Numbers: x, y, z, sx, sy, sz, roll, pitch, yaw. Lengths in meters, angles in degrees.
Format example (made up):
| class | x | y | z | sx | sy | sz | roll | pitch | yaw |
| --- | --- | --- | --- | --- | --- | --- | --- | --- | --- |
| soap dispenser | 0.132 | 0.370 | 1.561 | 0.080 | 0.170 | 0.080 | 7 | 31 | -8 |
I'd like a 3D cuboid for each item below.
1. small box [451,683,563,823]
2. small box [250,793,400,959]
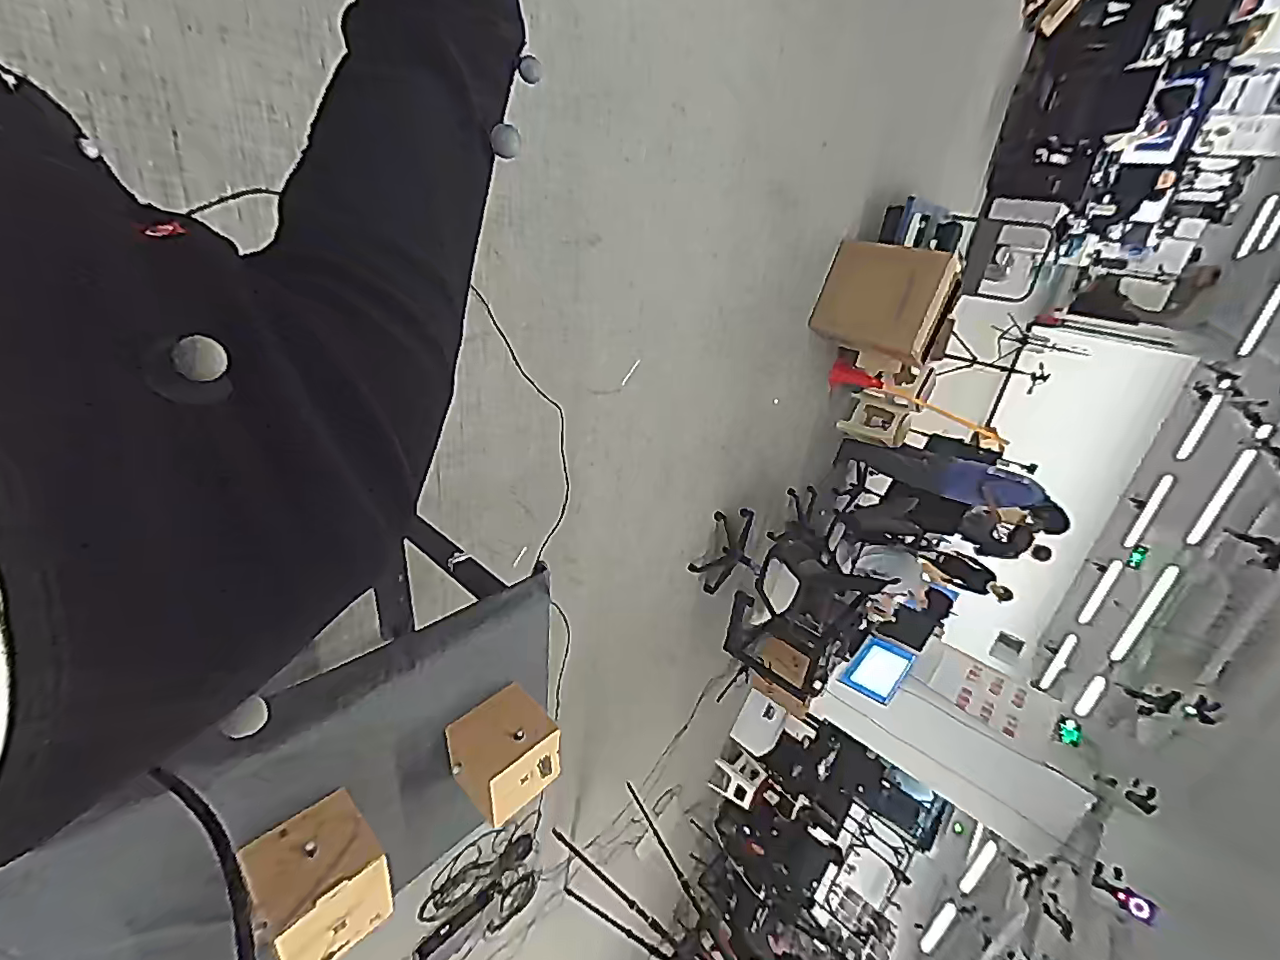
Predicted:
| class | x | y | z | sx | sy | sz | roll | pitch | yaw |
| --- | --- | --- | --- | --- | --- | --- | --- | --- | --- |
| small box | -0.288 | 0.585 | 1.182 | 0.179 | 0.176 | 0.168 | -25 | 130 | -41 |
| small box | -0.535 | 0.678 | 0.923 | 0.168 | 0.176 | 0.179 | -21 | 127 | -45 |
